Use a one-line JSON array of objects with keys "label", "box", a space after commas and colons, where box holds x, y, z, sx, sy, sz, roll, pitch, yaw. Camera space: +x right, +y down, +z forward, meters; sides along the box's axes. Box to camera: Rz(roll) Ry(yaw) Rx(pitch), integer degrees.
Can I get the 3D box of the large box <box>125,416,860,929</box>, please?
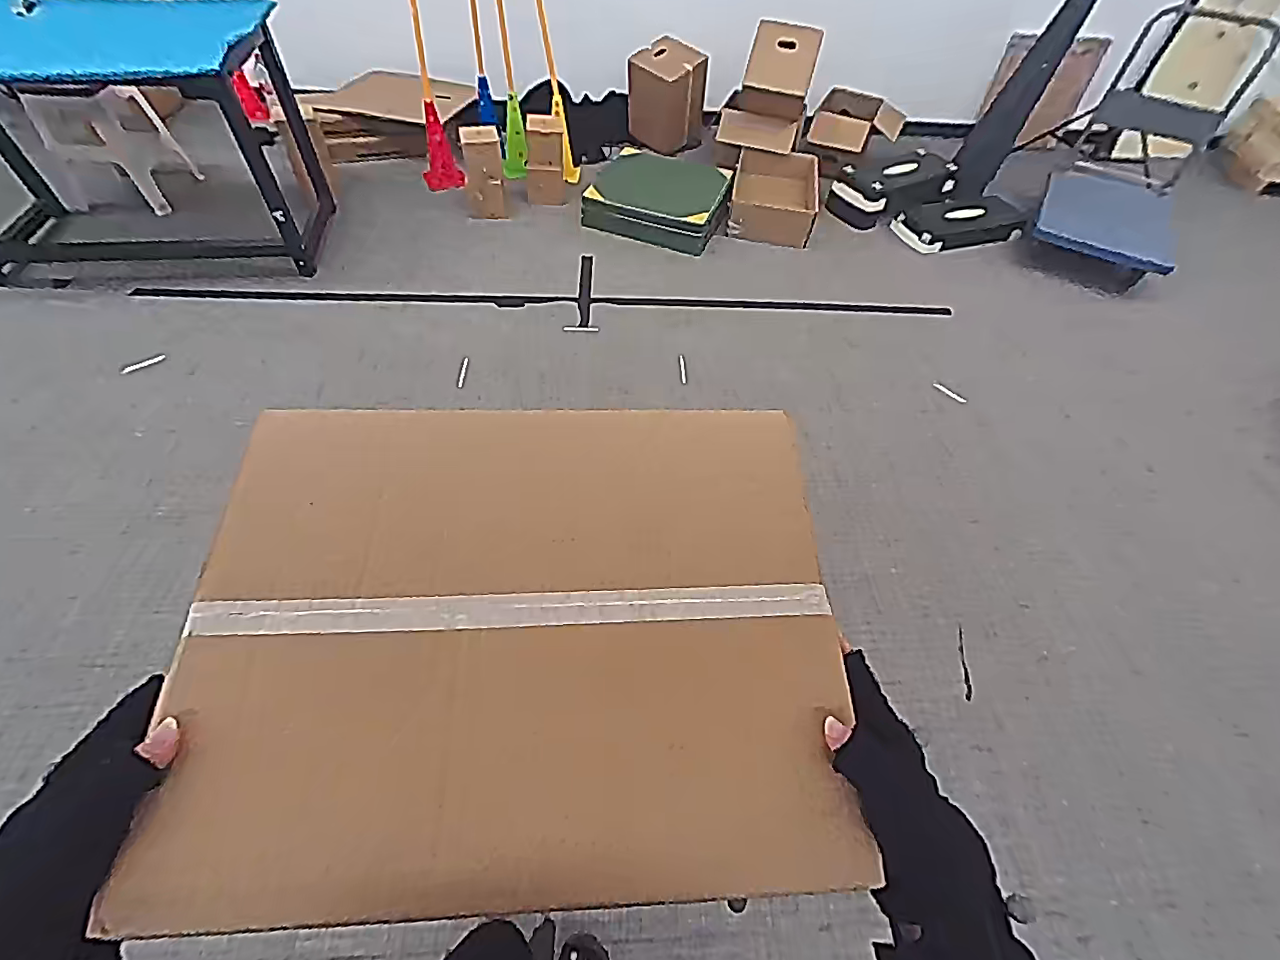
[{"label": "large box", "box": [-0.085, 0.156, 0.492, 0.408, 0.320, 0.320, -1, 62, -4]}]
